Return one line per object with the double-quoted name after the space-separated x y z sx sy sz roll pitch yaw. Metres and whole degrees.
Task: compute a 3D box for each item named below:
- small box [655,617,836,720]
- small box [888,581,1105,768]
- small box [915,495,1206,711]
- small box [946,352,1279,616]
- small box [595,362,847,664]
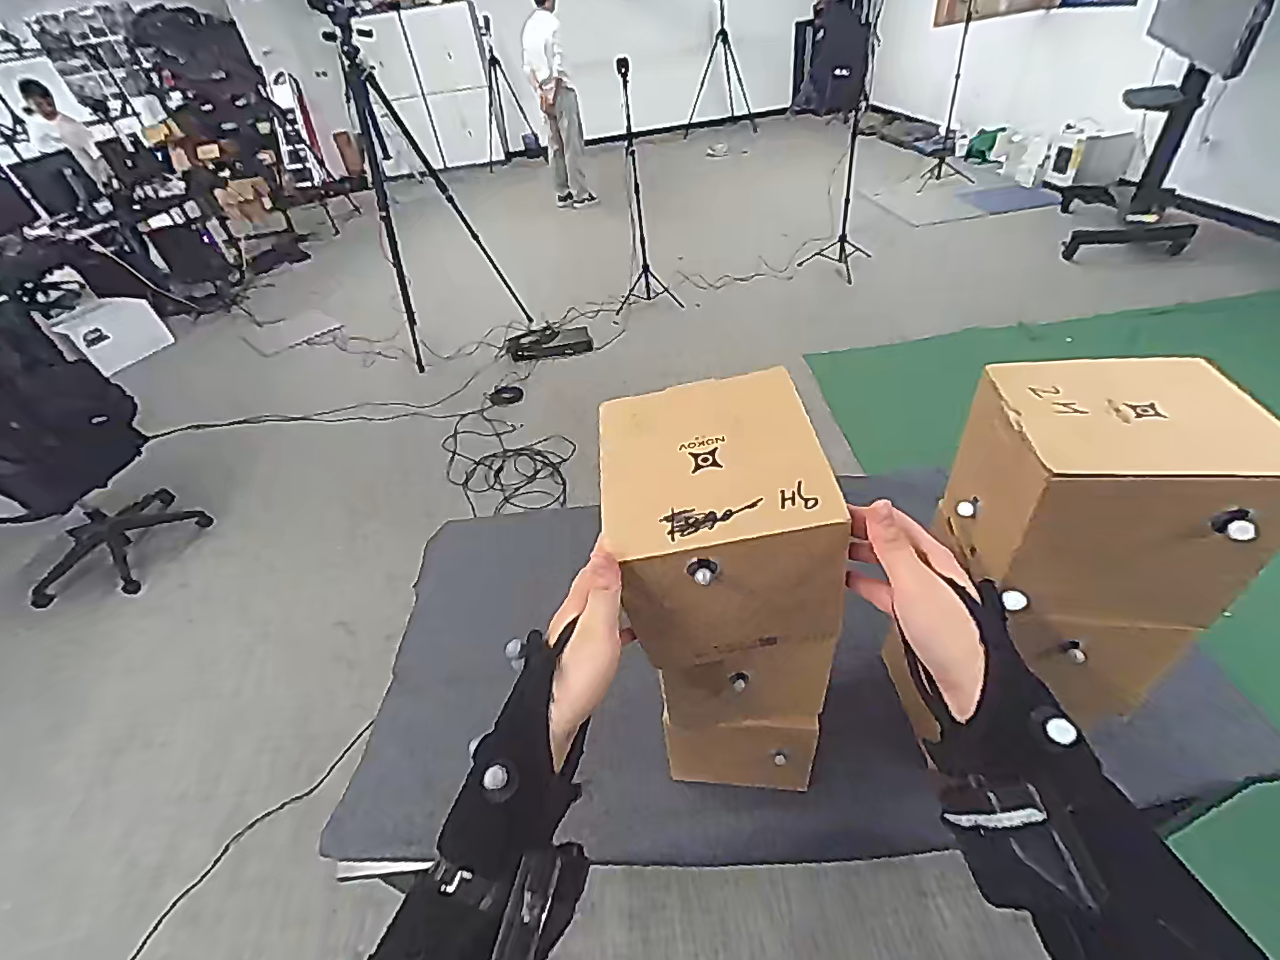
0.105 0.152 0.618 0.179 0.176 0.168 -7 39 3 "small box"
0.442 0.243 0.700 0.168 0.176 0.179 -8 40 4 "small box"
0.421 0.130 0.585 0.179 0.176 0.168 -1 41 12 "small box"
0.401 0.003 0.481 0.179 0.176 0.168 1 41 13 "small box"
0.063 0.031 0.461 0.168 0.176 0.179 -12 47 7 "small box"
